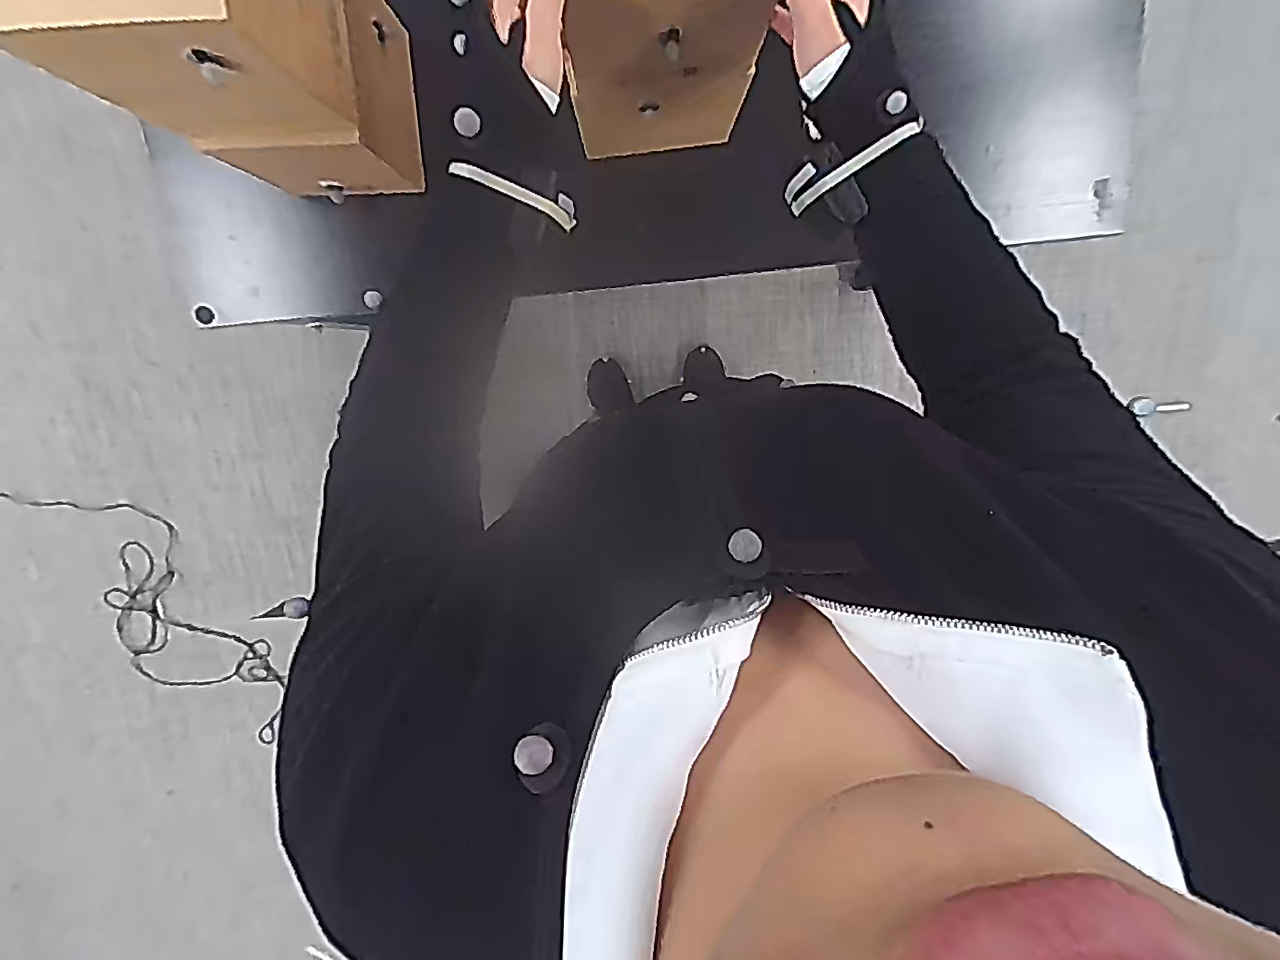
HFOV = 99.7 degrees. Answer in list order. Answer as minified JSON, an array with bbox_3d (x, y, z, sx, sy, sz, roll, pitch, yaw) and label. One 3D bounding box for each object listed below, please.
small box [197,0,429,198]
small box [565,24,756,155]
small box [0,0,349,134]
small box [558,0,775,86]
[{"bbox_3d":[-0.346,-0.423,0.581,0.168,0.176,0.179,-2,104,2],"label":"small box"},{"bbox_3d":[0.015,-0.466,0.569,0.179,0.176,0.168,-7,103,1],"label":"small box"},{"bbox_3d":[-0.352,-0.392,0.418,0.179,0.176,0.168,-2,102,1],"label":"small box"},{"bbox_3d":[0.016,-0.433,0.409,0.168,0.176,0.179,-8,104,2],"label":"small box"}]
